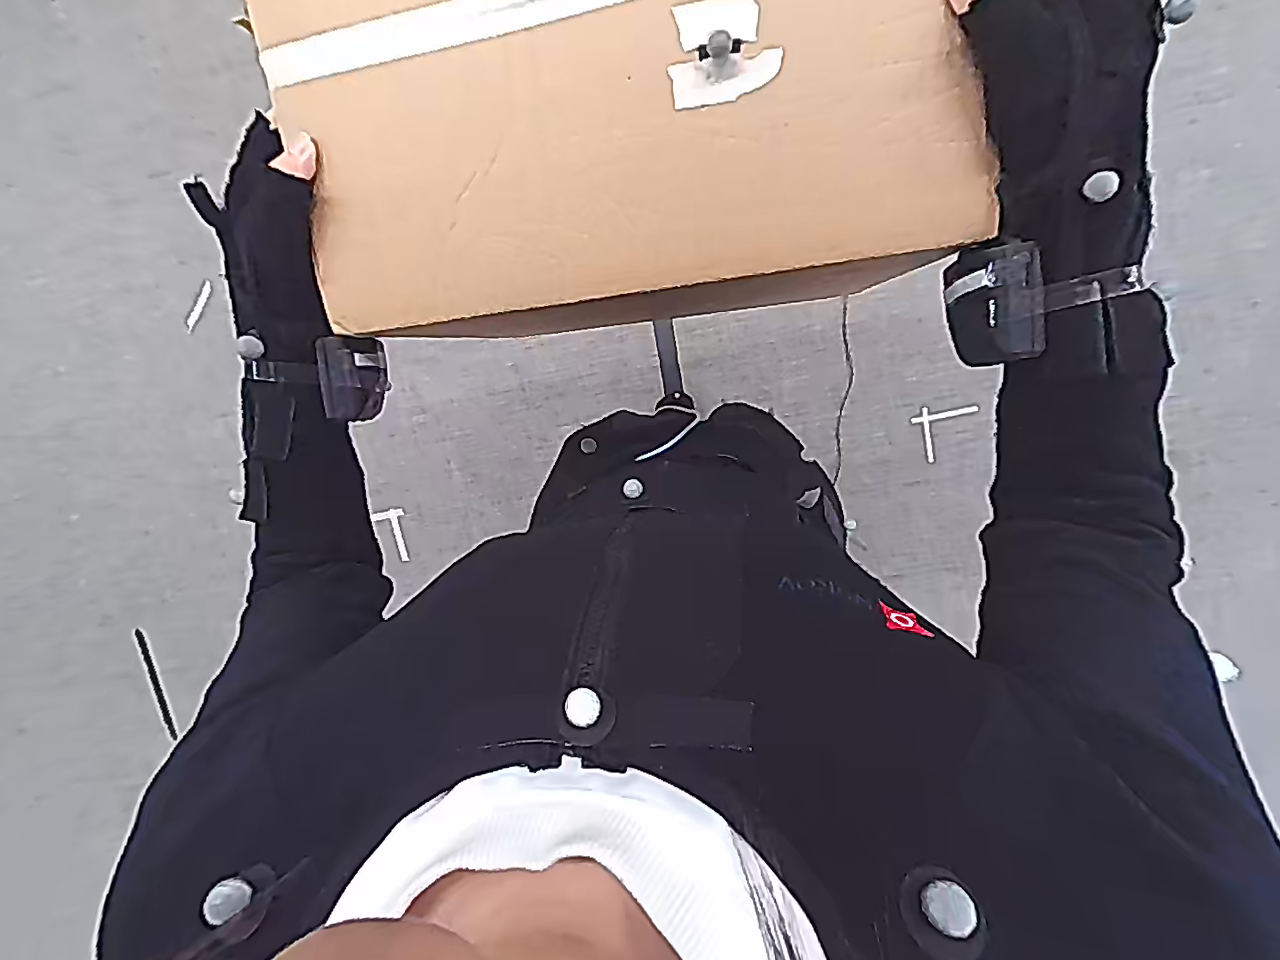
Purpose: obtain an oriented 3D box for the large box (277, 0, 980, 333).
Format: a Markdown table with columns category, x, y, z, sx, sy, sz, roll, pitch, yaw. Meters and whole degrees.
| category | x | y | z | sx | sy | sz | roll | pitch | yaw |
| --- | --- | --- | --- | --- | --- | --- | --- | --- | --- |
| large box | -0.003 | -0.311 | 0.448 | 0.408 | 0.320 | 0.320 | -5 | 104 | 10 |
